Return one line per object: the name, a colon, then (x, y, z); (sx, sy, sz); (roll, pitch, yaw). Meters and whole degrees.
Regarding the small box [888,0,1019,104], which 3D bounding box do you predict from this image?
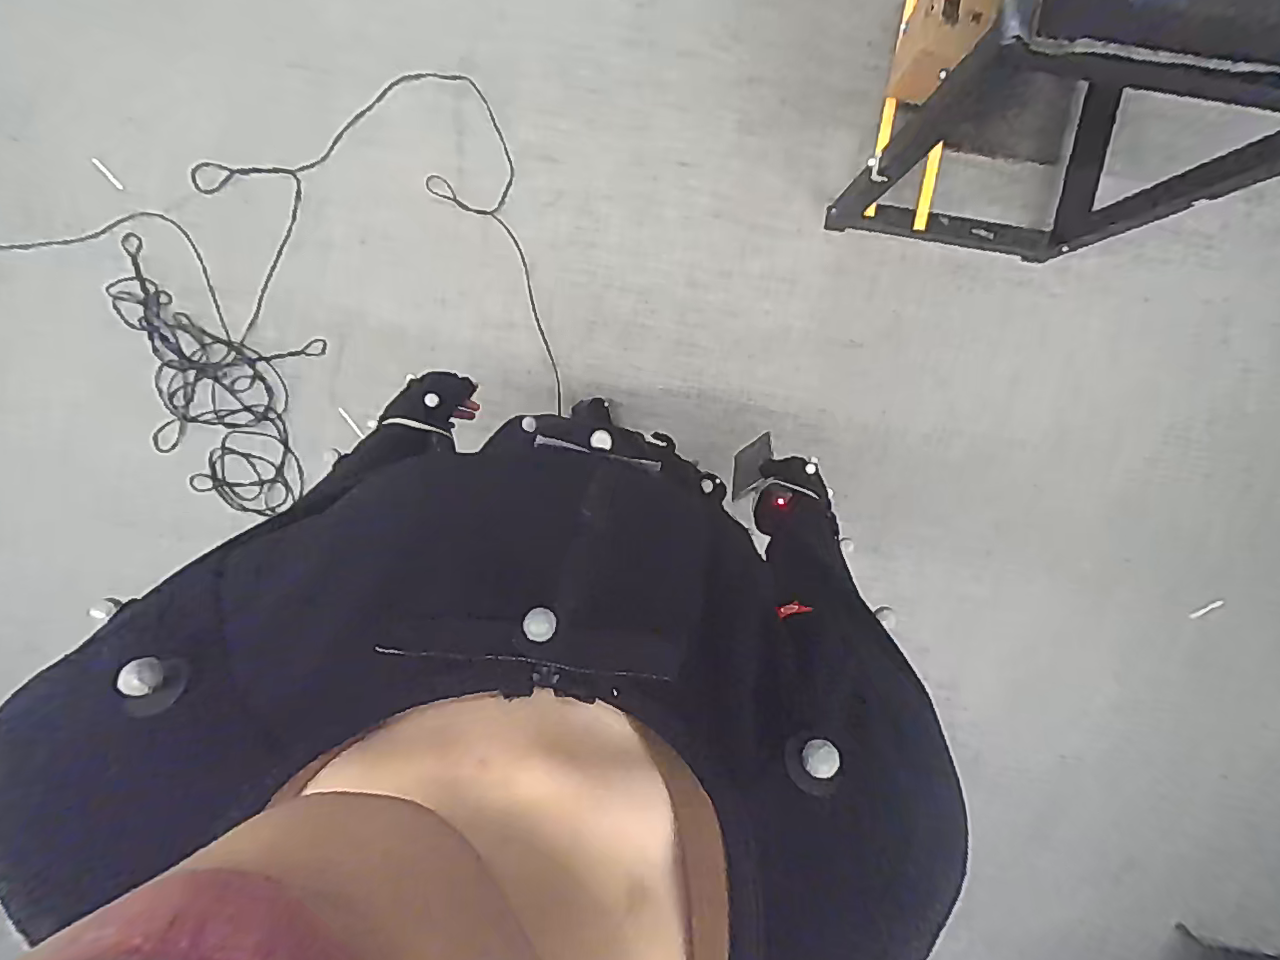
small box: (0.662, -0.946, 1.156); (0.179, 0.176, 0.168); (12, 98, -1)
